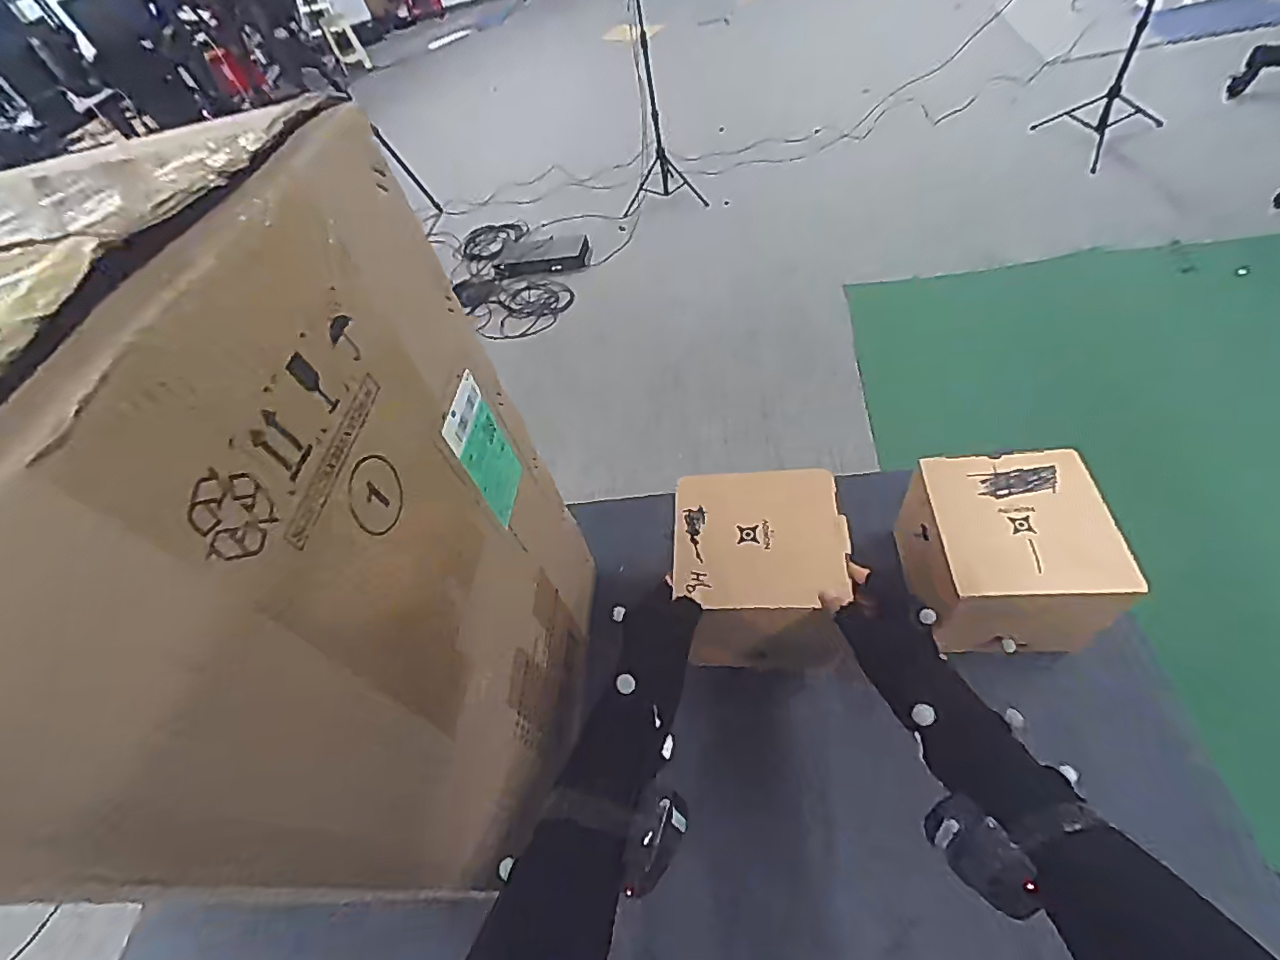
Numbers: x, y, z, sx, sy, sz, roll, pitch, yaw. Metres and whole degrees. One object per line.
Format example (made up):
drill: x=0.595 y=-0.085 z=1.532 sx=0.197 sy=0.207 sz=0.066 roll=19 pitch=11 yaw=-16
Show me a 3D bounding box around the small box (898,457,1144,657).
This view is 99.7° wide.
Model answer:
small box: x=0.421 y=0.094 z=0.640 sx=0.168 sy=0.176 sz=0.179 roll=-4 pitch=54 yaw=11
